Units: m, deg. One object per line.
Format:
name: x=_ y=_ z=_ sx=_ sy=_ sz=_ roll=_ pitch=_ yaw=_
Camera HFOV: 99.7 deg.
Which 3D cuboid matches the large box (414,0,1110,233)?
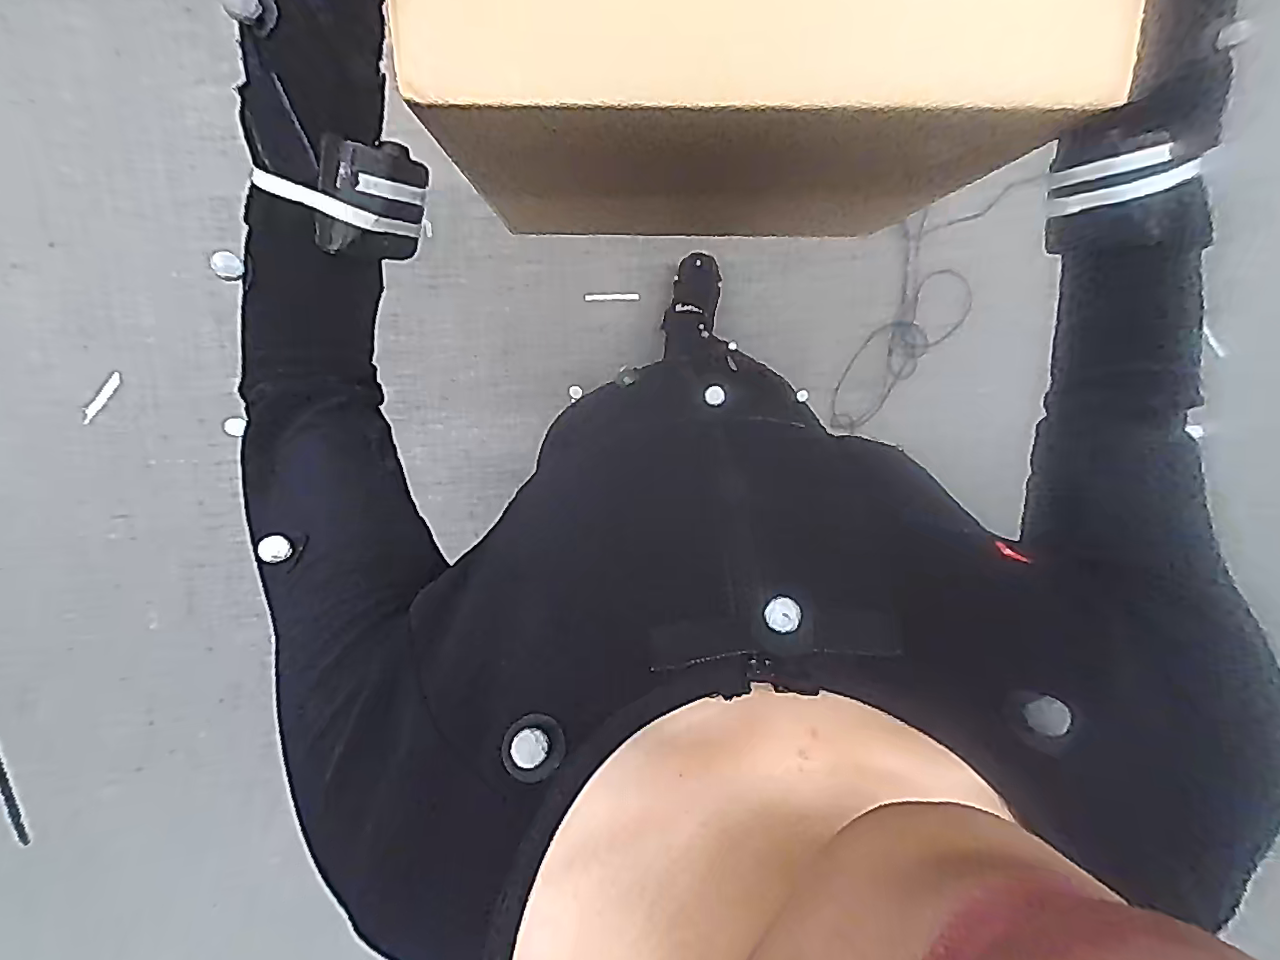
large box: x=0.061 y=-0.401 z=0.429 sx=0.408 sy=0.320 sz=0.320 roll=-1 pitch=102 yaw=-3
